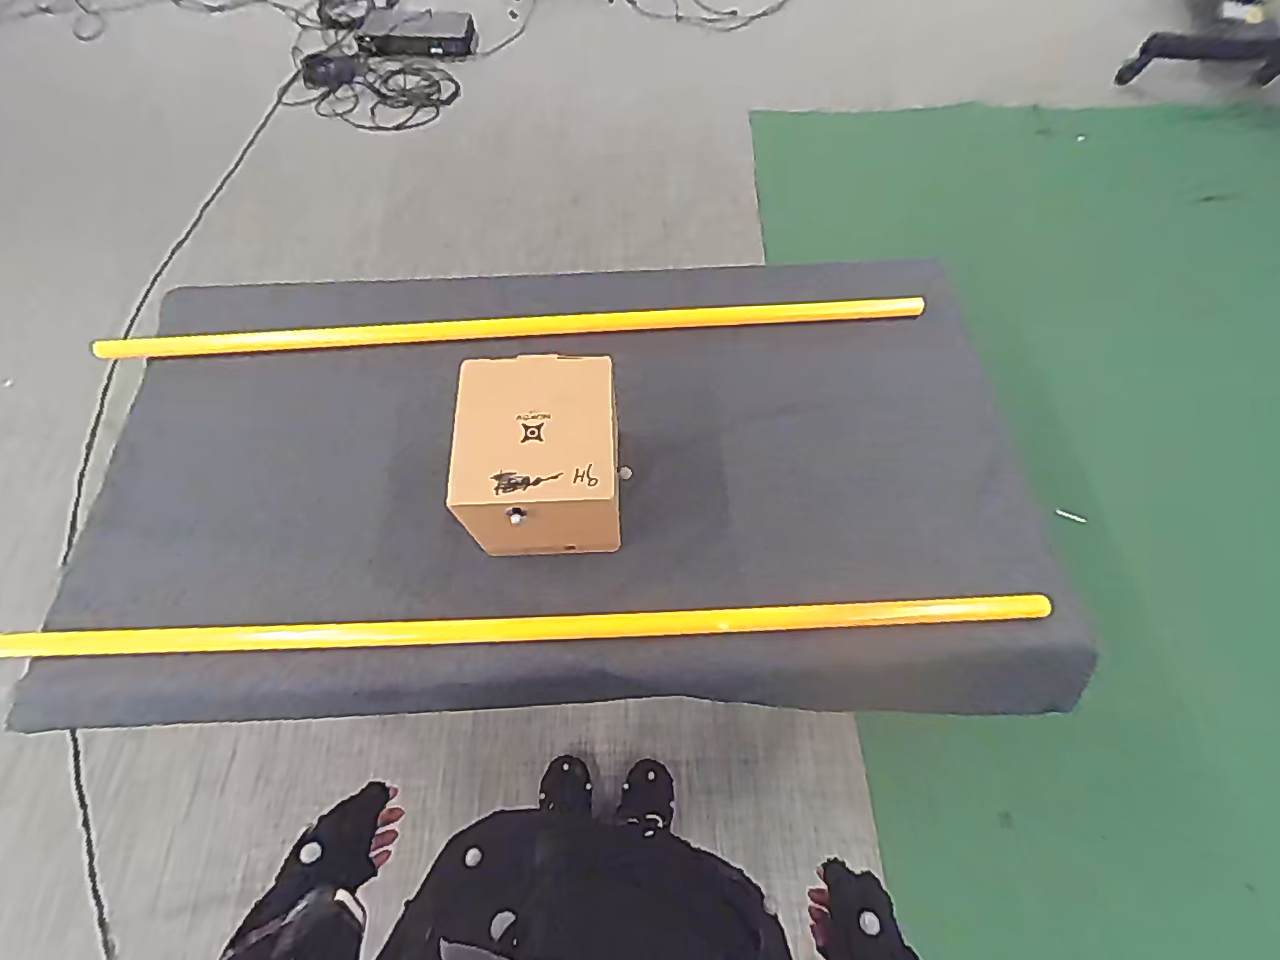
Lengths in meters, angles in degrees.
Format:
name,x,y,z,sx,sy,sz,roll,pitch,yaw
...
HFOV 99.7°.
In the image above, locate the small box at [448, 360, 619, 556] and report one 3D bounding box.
name,x,y,z,sx,sy,sz,roll,pitch,yaw
small box,-0.112,-0.020,0.643,0.168,0.176,0.179,-3,64,-1
